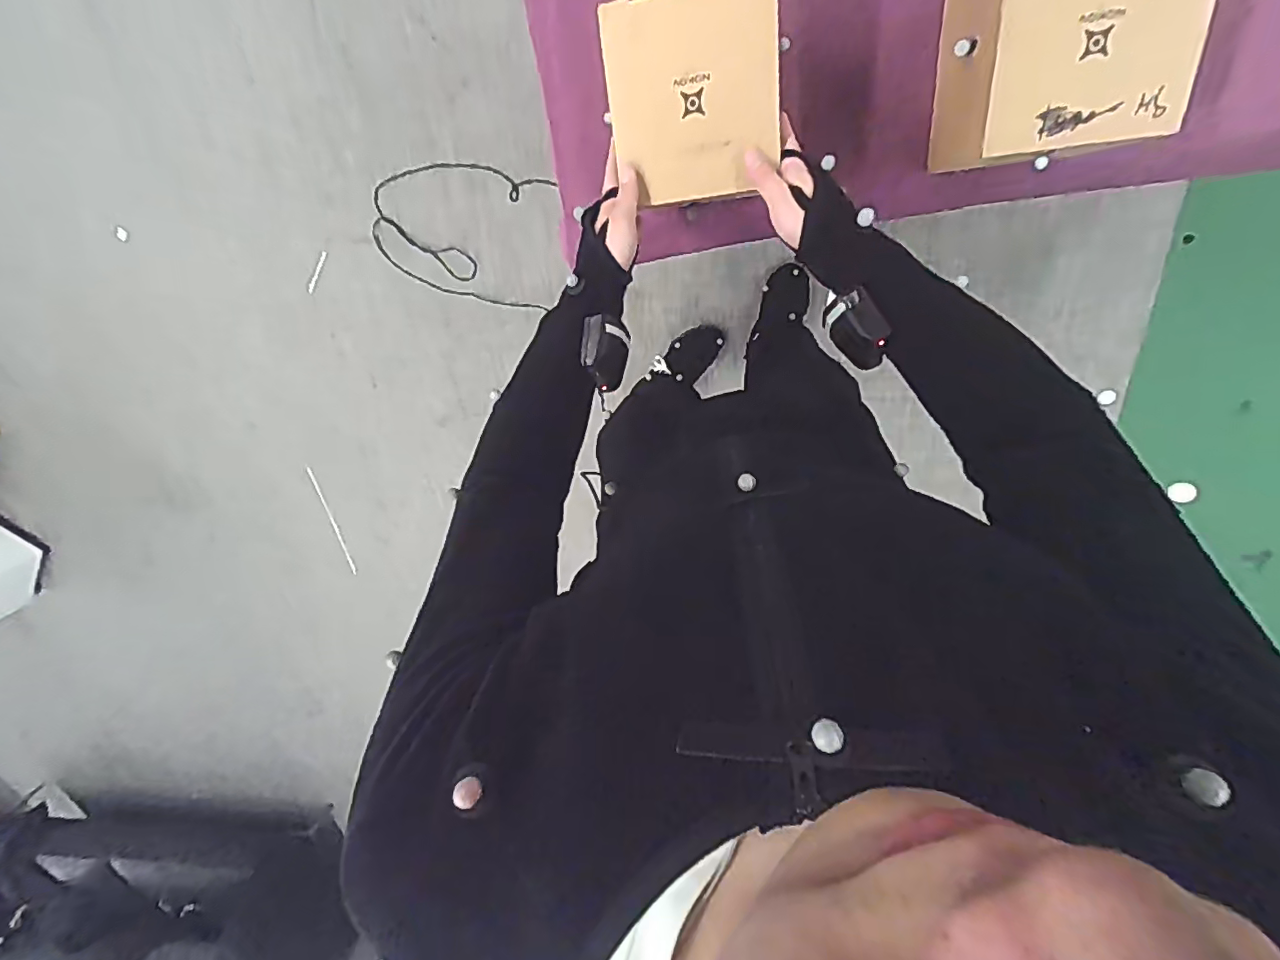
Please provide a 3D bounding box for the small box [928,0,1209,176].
[{"bbox_3d":[0.409,-0.421,0.544,0.168,0.176,0.179,-1,114,10],"label":"small box"}]
